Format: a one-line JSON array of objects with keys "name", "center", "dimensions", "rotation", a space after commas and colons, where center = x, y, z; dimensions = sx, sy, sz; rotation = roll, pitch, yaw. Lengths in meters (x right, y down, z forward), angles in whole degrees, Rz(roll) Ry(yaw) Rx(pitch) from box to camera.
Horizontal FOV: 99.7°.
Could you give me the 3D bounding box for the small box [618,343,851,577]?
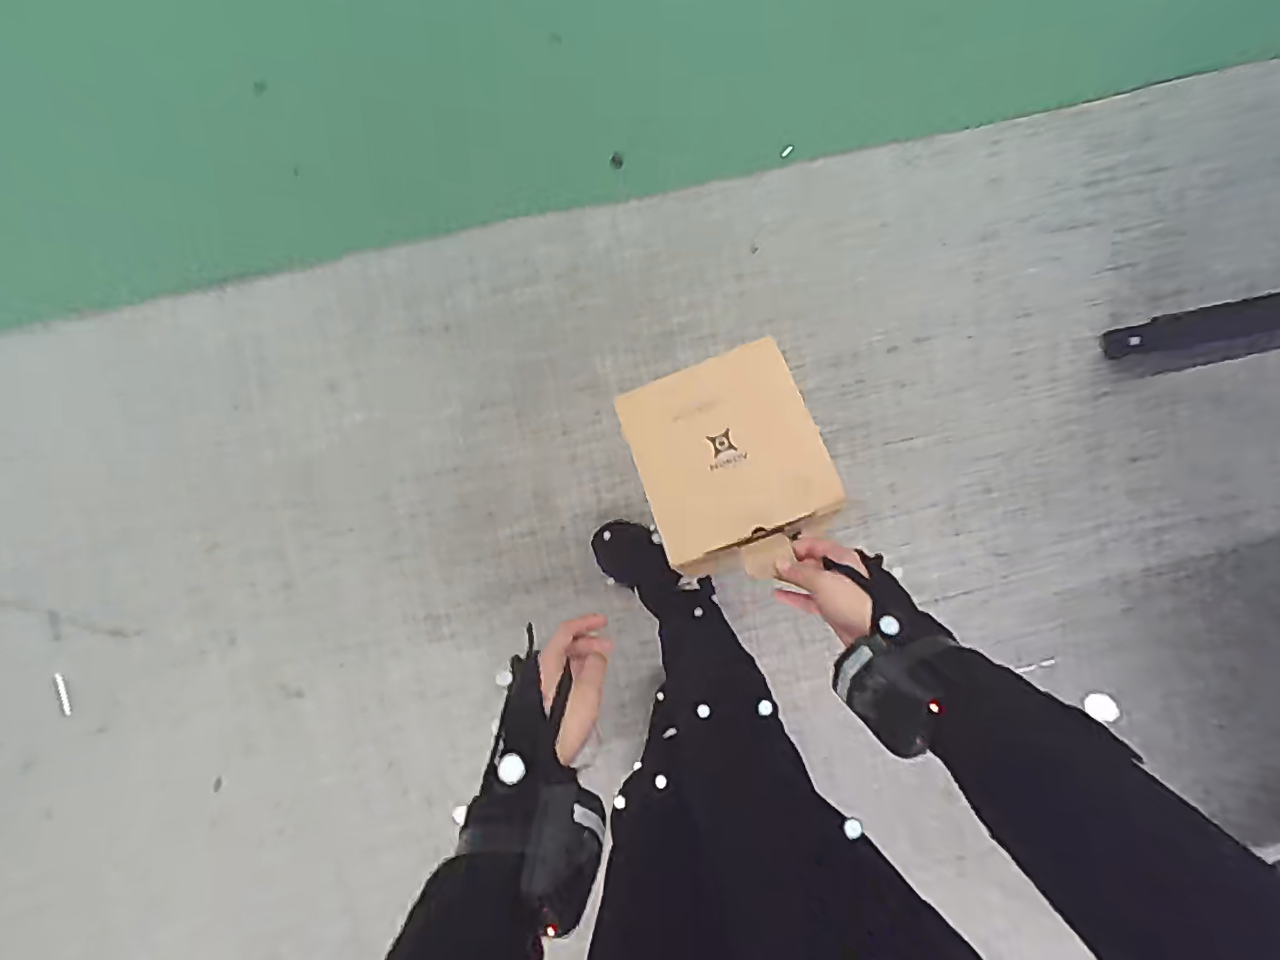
[{"name": "small box", "center": [0.096, -0.005, 0.564], "dimensions": [0.168, 0.176, 0.179], "rotation": [-21, 72, 6]}]
